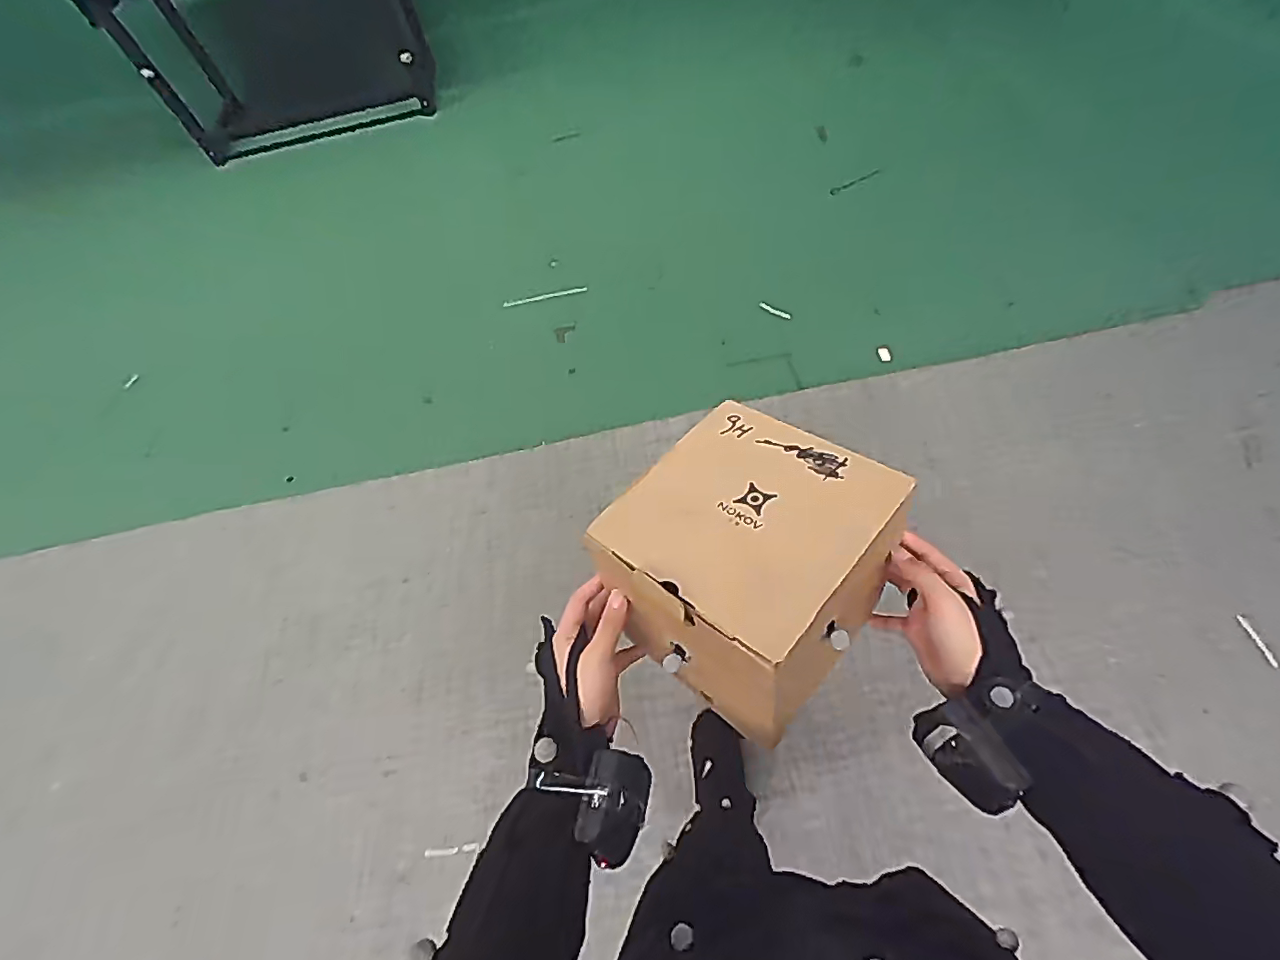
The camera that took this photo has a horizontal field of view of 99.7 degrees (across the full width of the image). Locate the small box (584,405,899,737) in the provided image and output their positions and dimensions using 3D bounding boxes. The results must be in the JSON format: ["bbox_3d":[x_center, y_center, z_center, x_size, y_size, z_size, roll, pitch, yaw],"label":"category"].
[{"bbox_3d":[0.086,0.075,0.450,0.168,0.176,0.179,30,61,34],"label":"small box"}]
